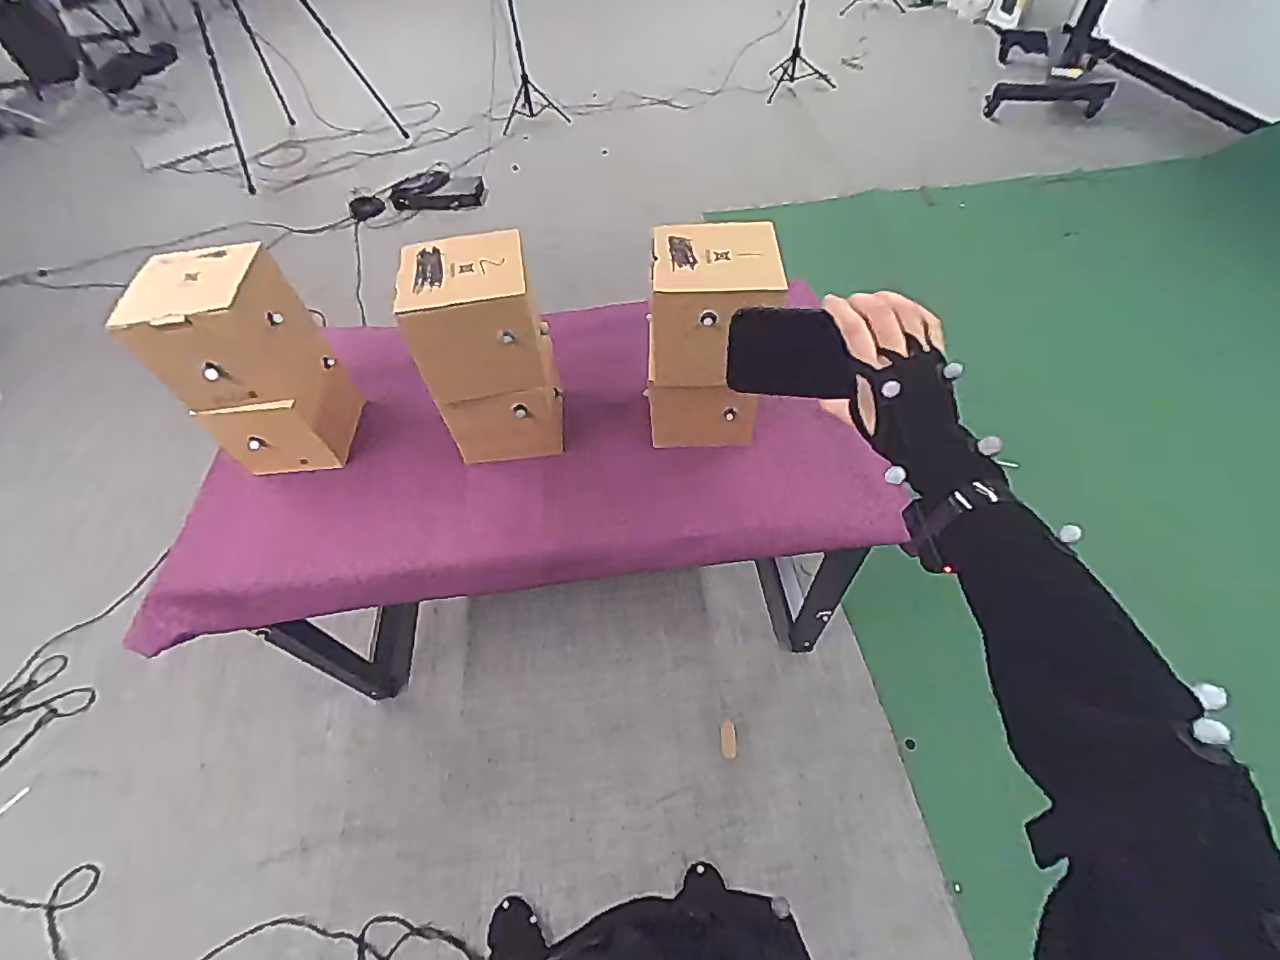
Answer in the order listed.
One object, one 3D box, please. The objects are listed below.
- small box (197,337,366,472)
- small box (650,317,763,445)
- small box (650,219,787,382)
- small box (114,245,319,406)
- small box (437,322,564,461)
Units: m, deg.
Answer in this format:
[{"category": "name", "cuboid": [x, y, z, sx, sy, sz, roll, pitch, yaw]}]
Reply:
[{"category": "small box", "cuboid": [-0.620, -0.126, 0.965, 0.168, 0.176, 0.179, -5, 53, 1]}, {"category": "small box", "cuboid": [0.110, -0.173, 0.939, 0.179, 0.176, 0.168, -1, 53, 5]}, {"category": "small box", "cuboid": [0.108, -0.259, 0.798, 0.179, 0.176, 0.168, -1, 53, 3]}, {"category": "small box", "cuboid": [-0.632, -0.230, 0.838, 0.168, 0.176, 0.179, -9, 54, -3]}, {"category": "small box", "cuboid": [-0.230, -0.151, 0.948, 0.179, 0.176, 0.168, -6, 53, 1]}]
